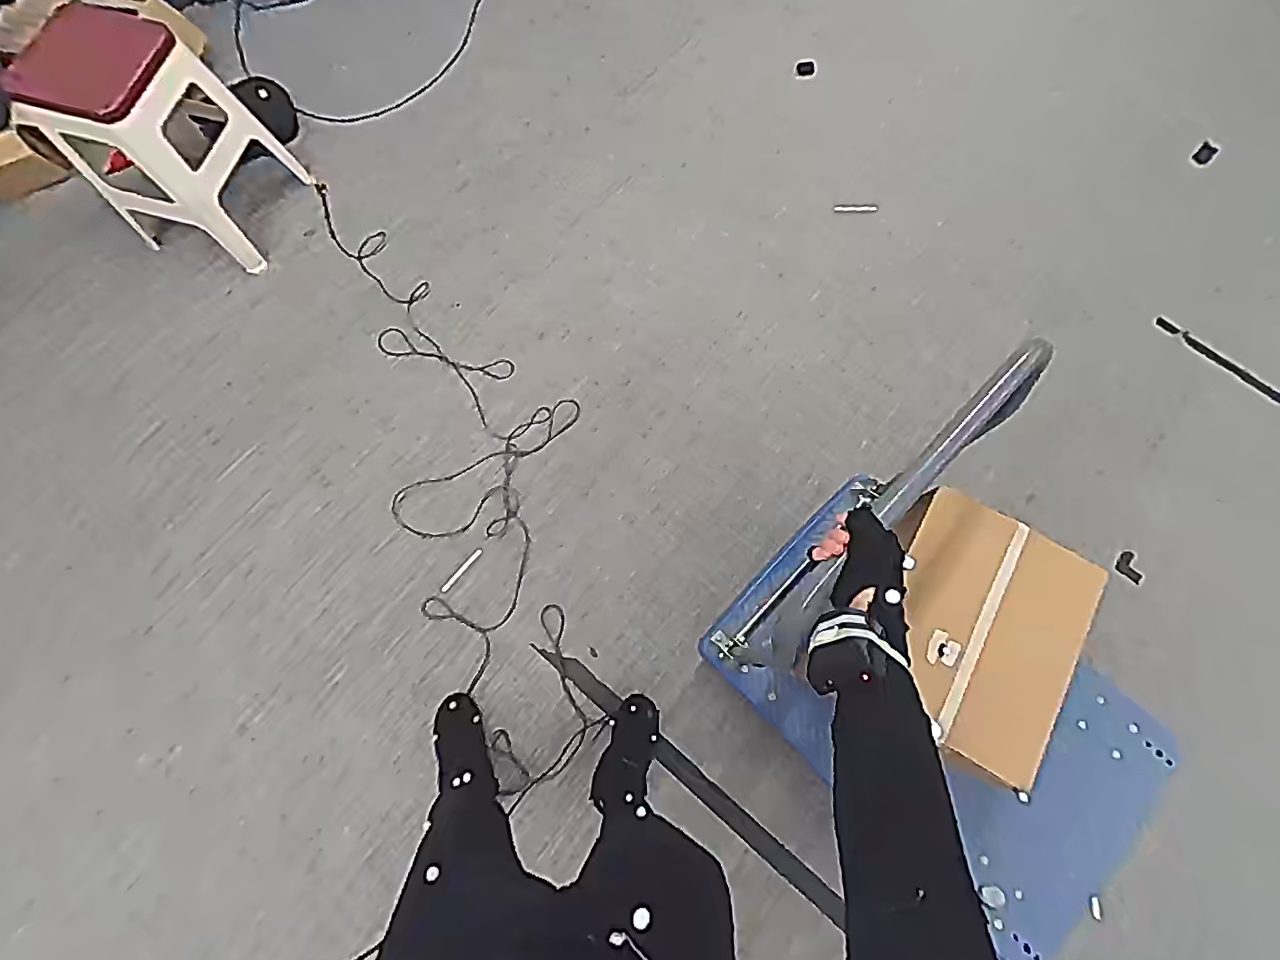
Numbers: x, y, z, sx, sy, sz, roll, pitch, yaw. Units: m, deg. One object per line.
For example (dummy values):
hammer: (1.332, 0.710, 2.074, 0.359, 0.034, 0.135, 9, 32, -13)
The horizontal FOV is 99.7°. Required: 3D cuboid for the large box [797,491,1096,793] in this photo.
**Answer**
large box: (0.564, 0.291, 1.052, 0.320, 0.320, 0.408, 29, 77, 9)
